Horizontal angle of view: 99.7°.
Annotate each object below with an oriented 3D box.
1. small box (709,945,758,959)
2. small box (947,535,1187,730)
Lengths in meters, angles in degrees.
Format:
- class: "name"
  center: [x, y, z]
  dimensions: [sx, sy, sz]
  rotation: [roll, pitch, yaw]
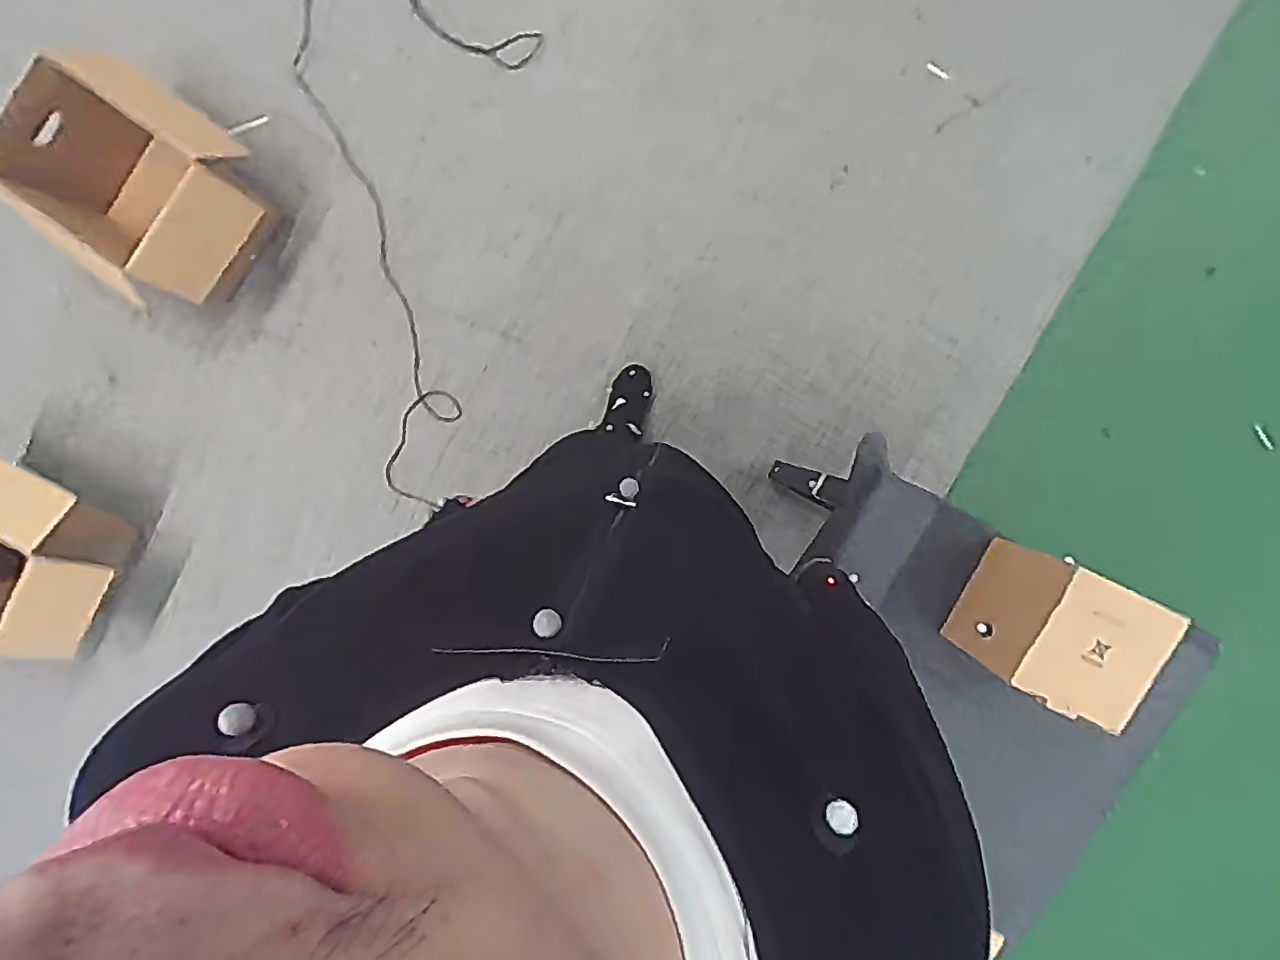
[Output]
- class: "small box"
  center: [0.172, 0.929, 0.878]
  dimensions: [0.168, 0.176, 0.179]
  rotation: [23, 96, 0]
- class: "small box"
  center: [0.569, 0.199, 0.754]
  dimensions: [0.168, 0.176, 0.179]
  rotation: [25, 96, -3]
